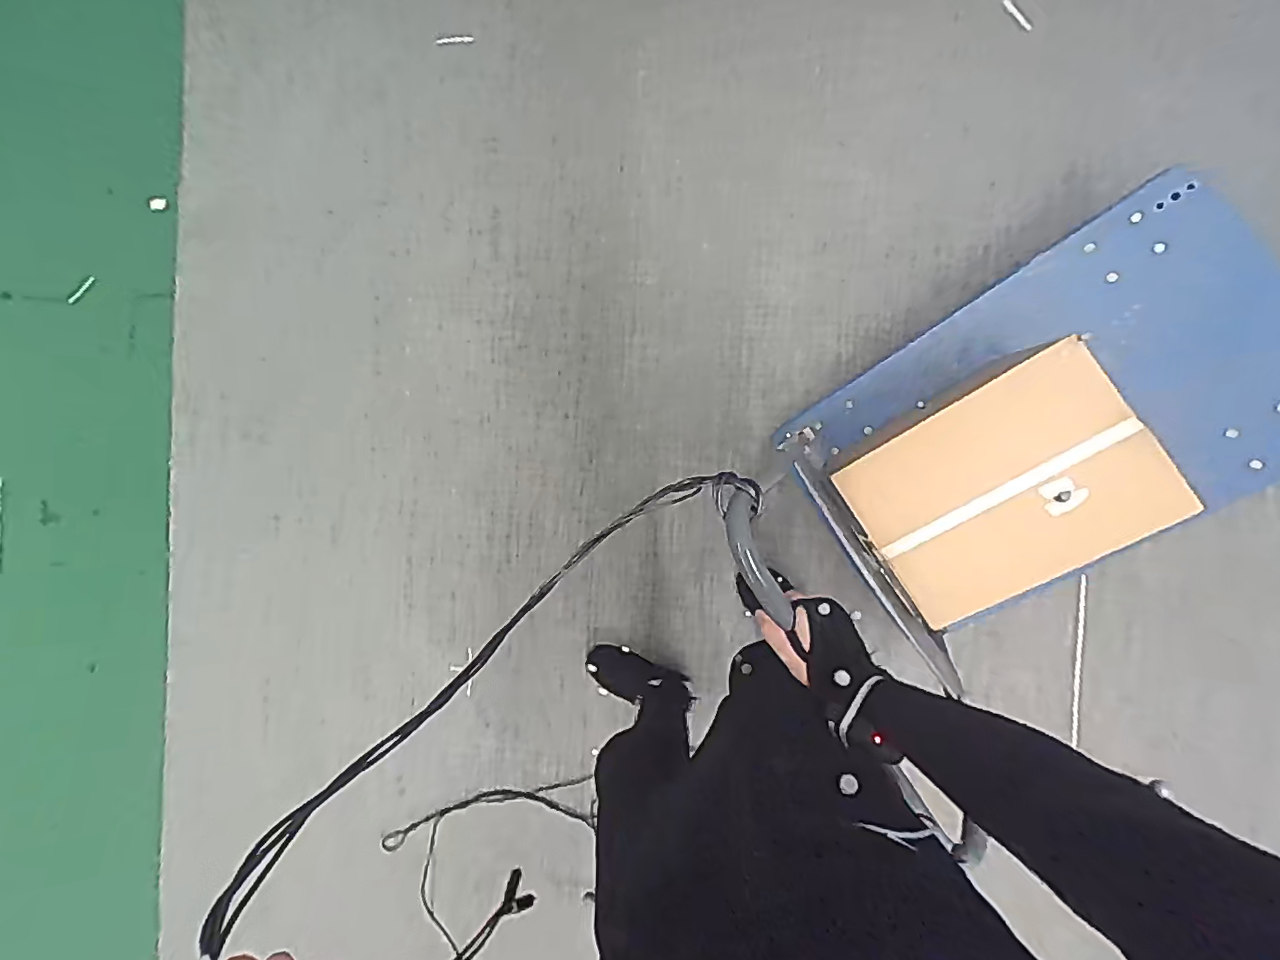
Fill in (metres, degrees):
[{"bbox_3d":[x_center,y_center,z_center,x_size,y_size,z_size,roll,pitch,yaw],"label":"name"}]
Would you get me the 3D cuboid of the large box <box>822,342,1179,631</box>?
[{"bbox_3d":[0.597,0.009,1.000,0.408,0.320,0.320,-34,86,19],"label":"large box"}]
